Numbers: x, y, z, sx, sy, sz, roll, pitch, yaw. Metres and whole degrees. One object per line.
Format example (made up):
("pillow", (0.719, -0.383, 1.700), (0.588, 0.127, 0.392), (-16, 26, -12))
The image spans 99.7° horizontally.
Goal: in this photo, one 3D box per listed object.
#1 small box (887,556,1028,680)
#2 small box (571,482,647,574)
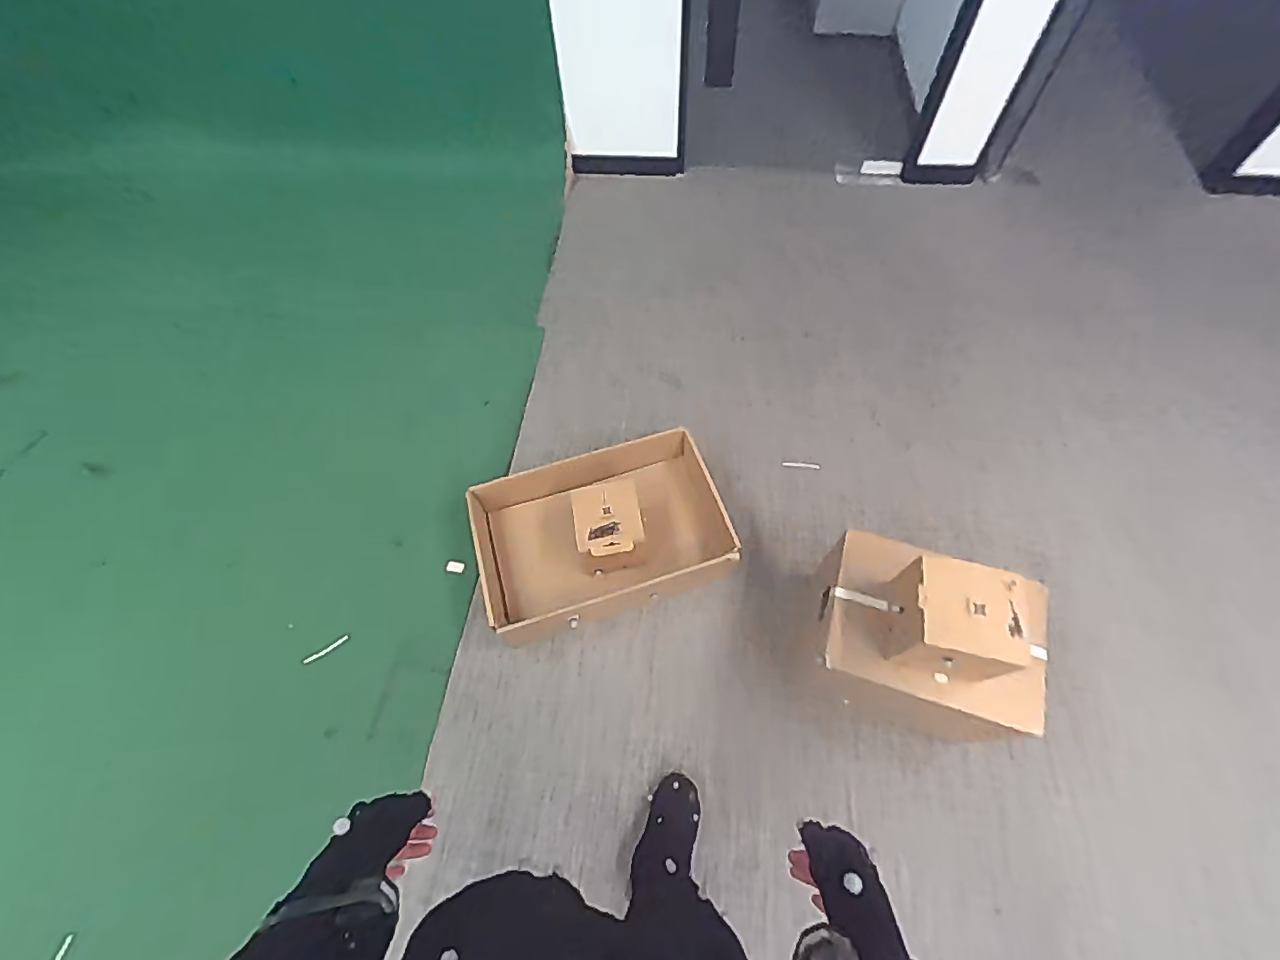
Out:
("small box", (0.572, 0.260, 1.000), (0.179, 0.176, 0.168), (11, 62, 9))
("small box", (-0.077, 0.132, 1.400), (0.168, 0.176, 0.179), (-10, 59, -2))
